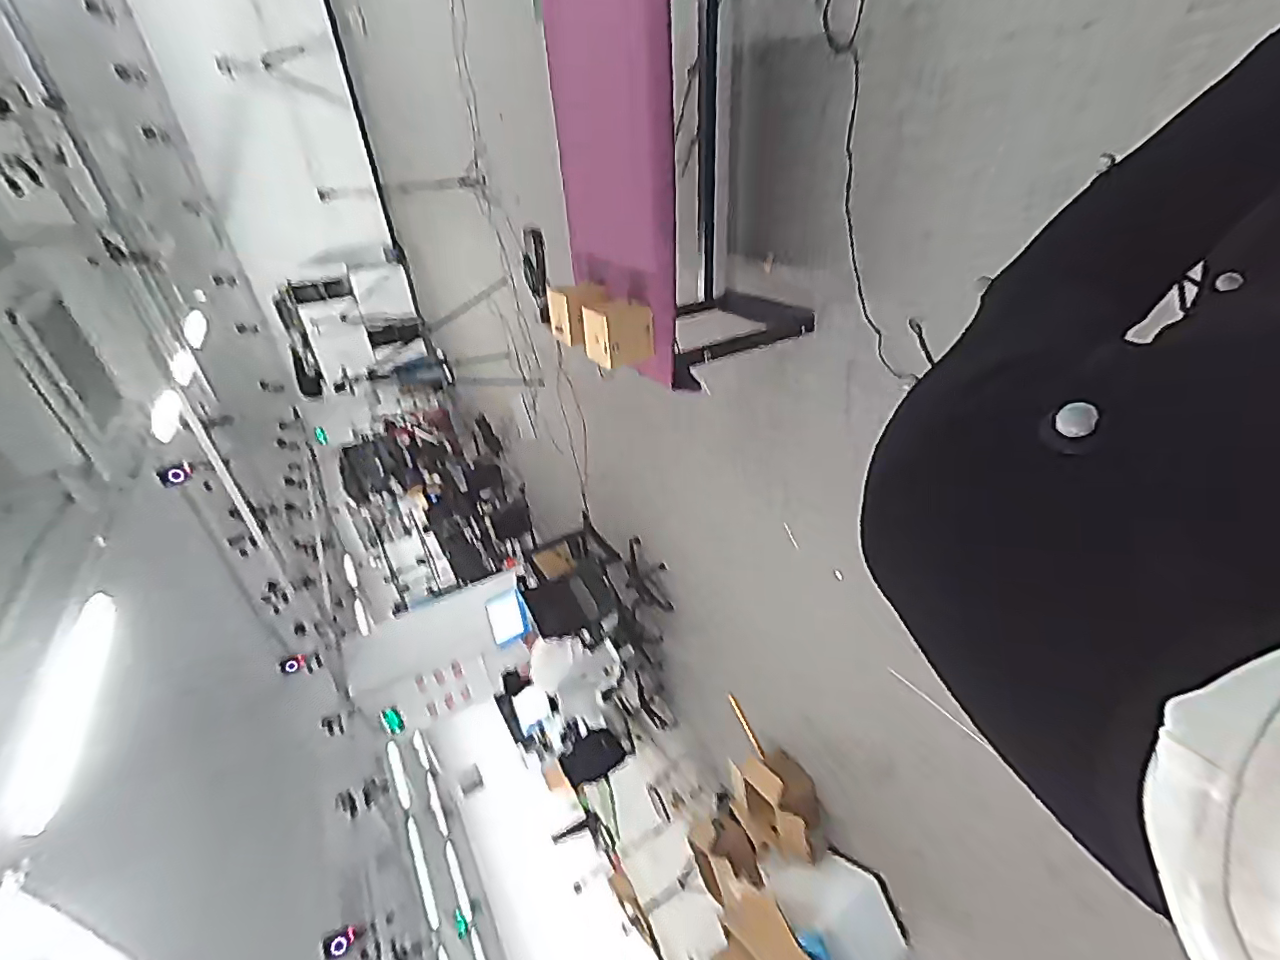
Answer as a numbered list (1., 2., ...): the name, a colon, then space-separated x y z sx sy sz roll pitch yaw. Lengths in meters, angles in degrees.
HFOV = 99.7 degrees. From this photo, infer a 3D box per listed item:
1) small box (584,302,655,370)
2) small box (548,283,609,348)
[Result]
1. small box: -0.066 -0.476 1.765 0.179 0.176 0.168 40 143 49
2. small box: -0.217 -0.606 1.977 0.168 0.176 0.179 40 141 46
